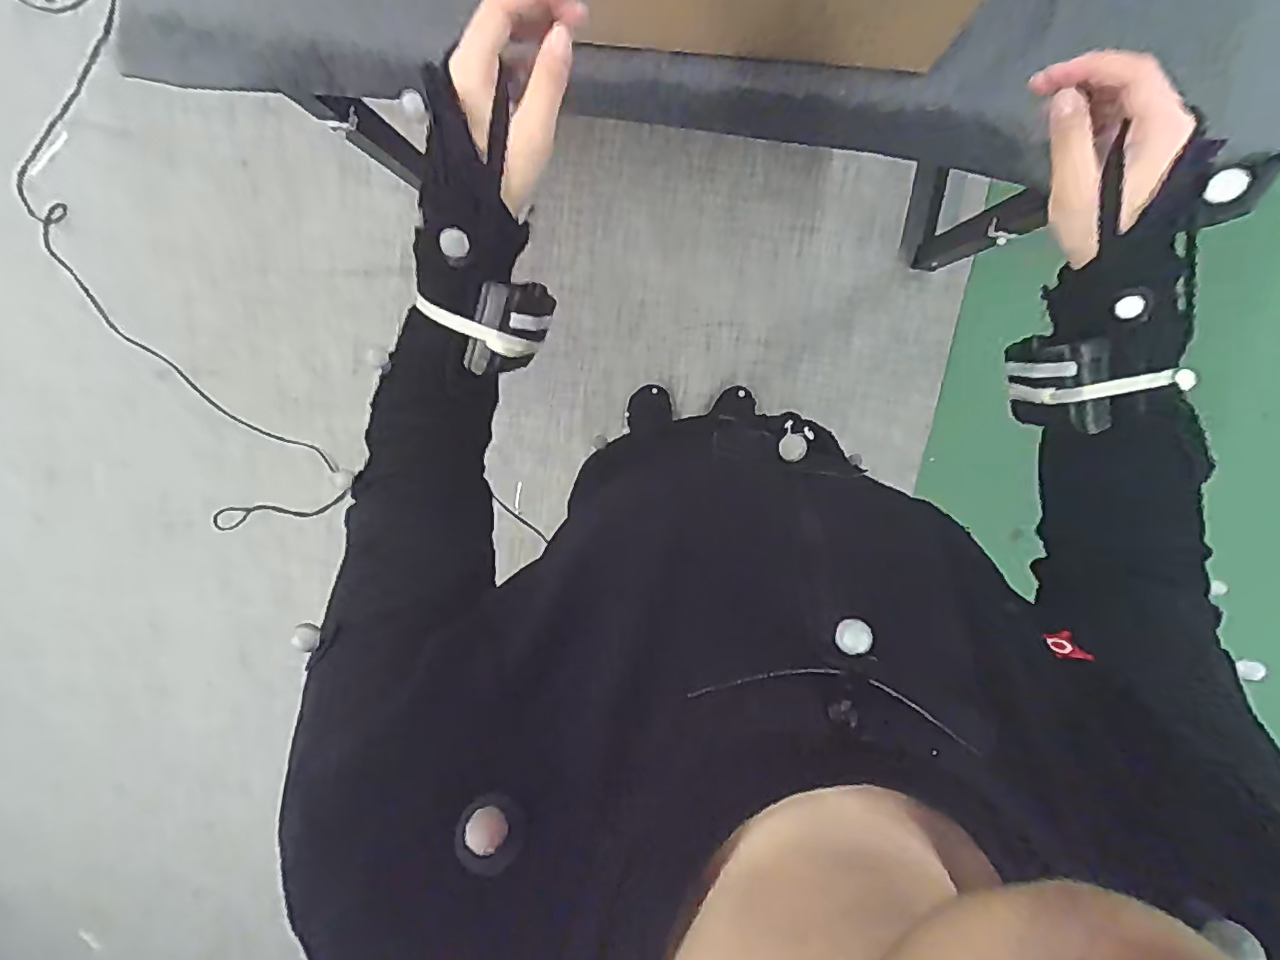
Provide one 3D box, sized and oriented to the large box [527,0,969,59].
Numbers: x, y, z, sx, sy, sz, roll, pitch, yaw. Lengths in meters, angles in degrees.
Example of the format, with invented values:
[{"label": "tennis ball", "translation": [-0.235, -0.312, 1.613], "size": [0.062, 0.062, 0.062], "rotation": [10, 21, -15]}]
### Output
[{"label": "large box", "translation": [0.096, -0.562, 0.379], "size": [0.408, 0.320, 0.320], "rotation": [6, 100, 1]}]
